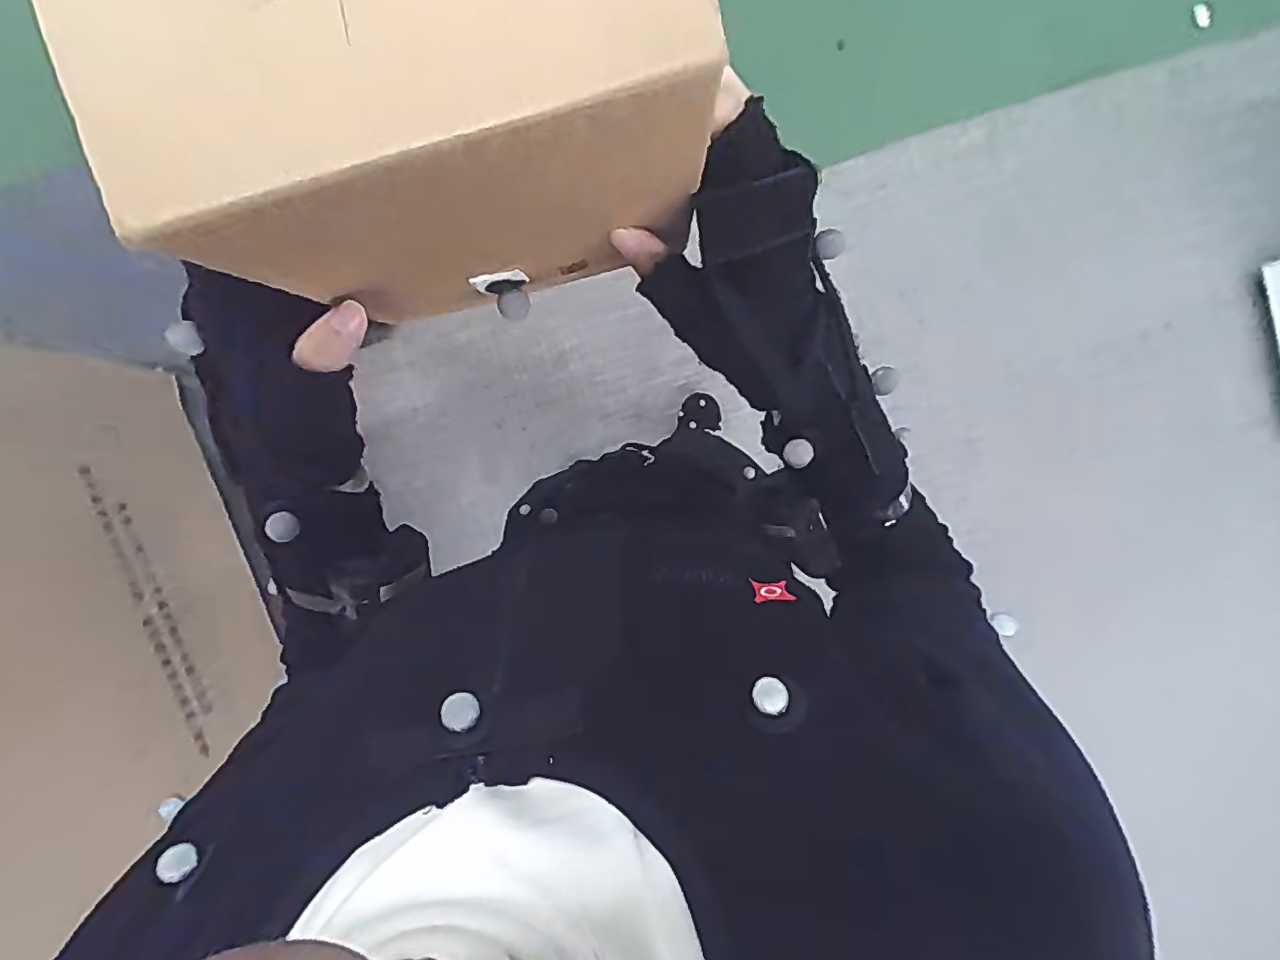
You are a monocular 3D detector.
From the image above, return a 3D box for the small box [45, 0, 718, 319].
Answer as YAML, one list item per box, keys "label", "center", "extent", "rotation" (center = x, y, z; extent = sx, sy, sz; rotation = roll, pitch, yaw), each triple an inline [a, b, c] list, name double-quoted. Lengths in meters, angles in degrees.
- label: "small box"
  center: [-0.076, -0.178, 0.210]
  extent: [0.168, 0.176, 0.179]
  rotation: [-14, 98, 5]
